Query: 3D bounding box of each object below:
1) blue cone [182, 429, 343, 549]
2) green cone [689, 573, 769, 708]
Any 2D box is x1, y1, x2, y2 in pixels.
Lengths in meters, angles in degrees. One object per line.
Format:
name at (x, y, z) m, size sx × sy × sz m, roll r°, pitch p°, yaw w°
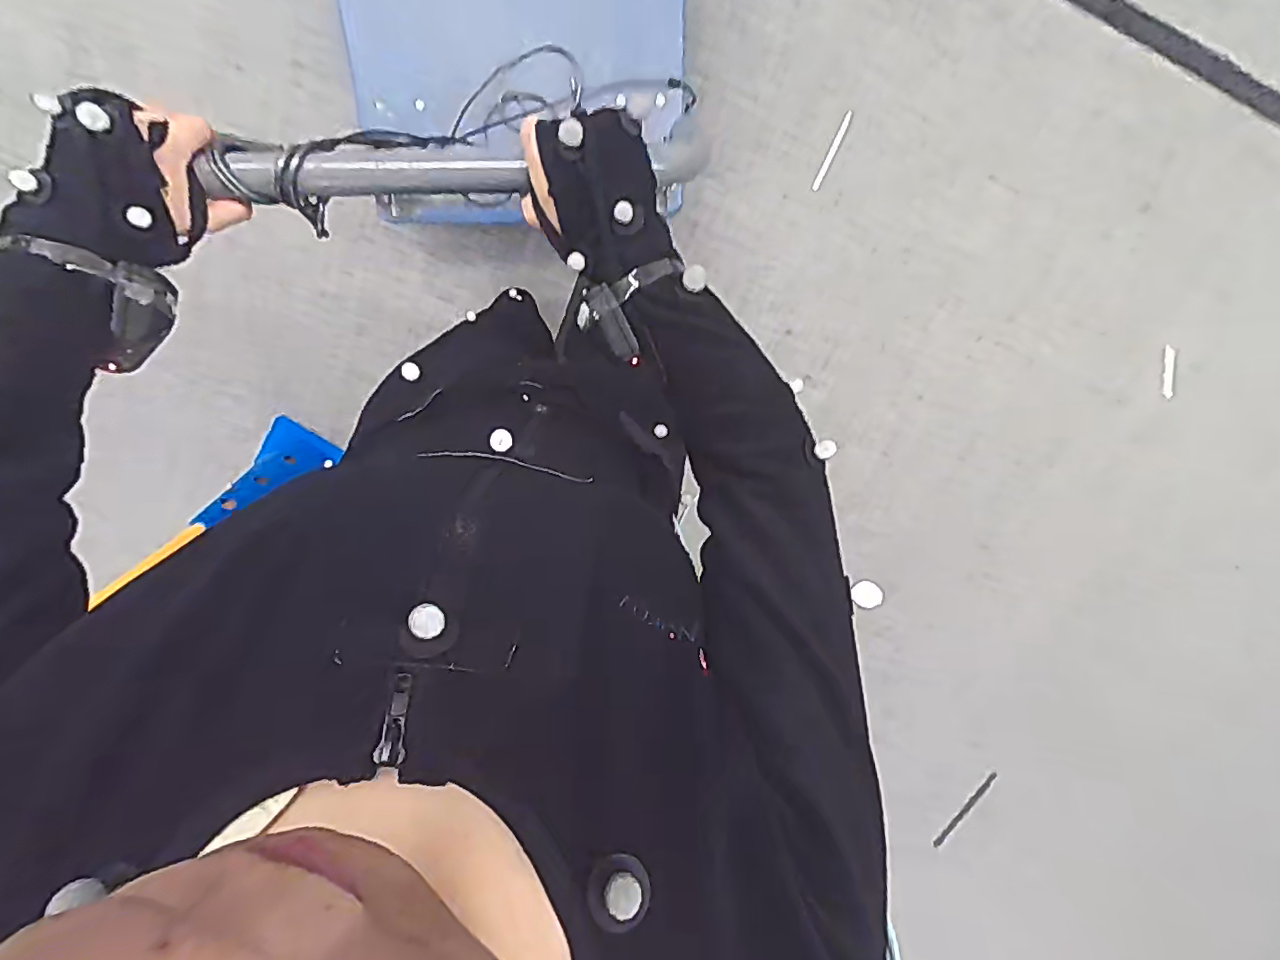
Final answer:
blue cone at (-0.857, 0.041, 1.204) m, size 0.193 × 0.380 × 0.192 m, roll 35°, pitch 107°, yaw -14°
green cone at (0.252, 0.419, 1.362) m, size 0.200 × 0.368 × 0.202 m, roll 8°, pitch 112°, yaw -4°
